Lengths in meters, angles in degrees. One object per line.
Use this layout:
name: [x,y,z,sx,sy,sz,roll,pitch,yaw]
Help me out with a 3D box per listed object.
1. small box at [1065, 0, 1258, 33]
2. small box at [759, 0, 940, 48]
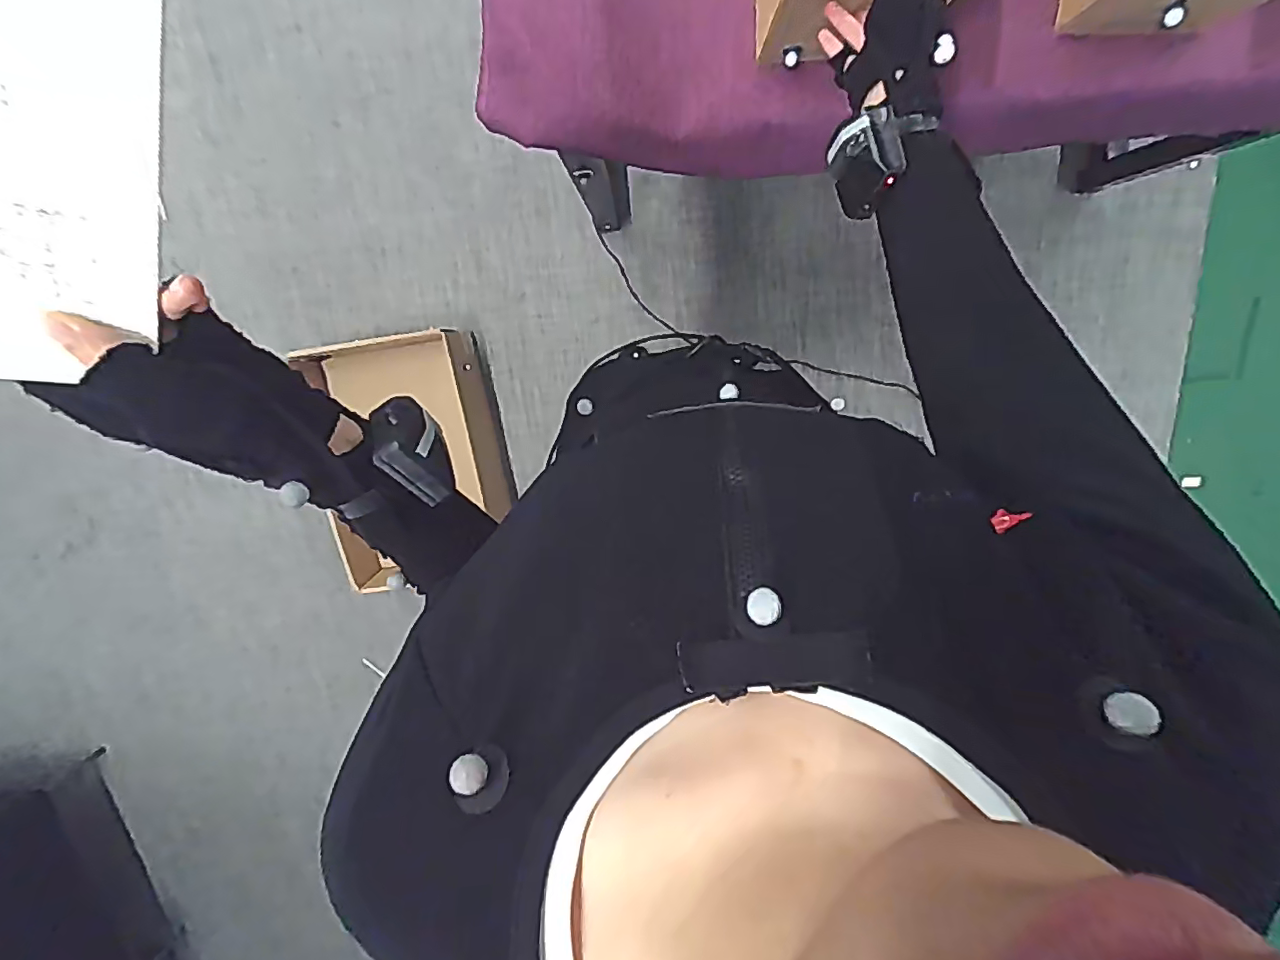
small box: [0.529,-0.547,0.481,0.168,0.176,0.179,1,105,2]
small box: [0.206,-0.530,0.494,0.168,0.176,0.179,-2,105,2]
